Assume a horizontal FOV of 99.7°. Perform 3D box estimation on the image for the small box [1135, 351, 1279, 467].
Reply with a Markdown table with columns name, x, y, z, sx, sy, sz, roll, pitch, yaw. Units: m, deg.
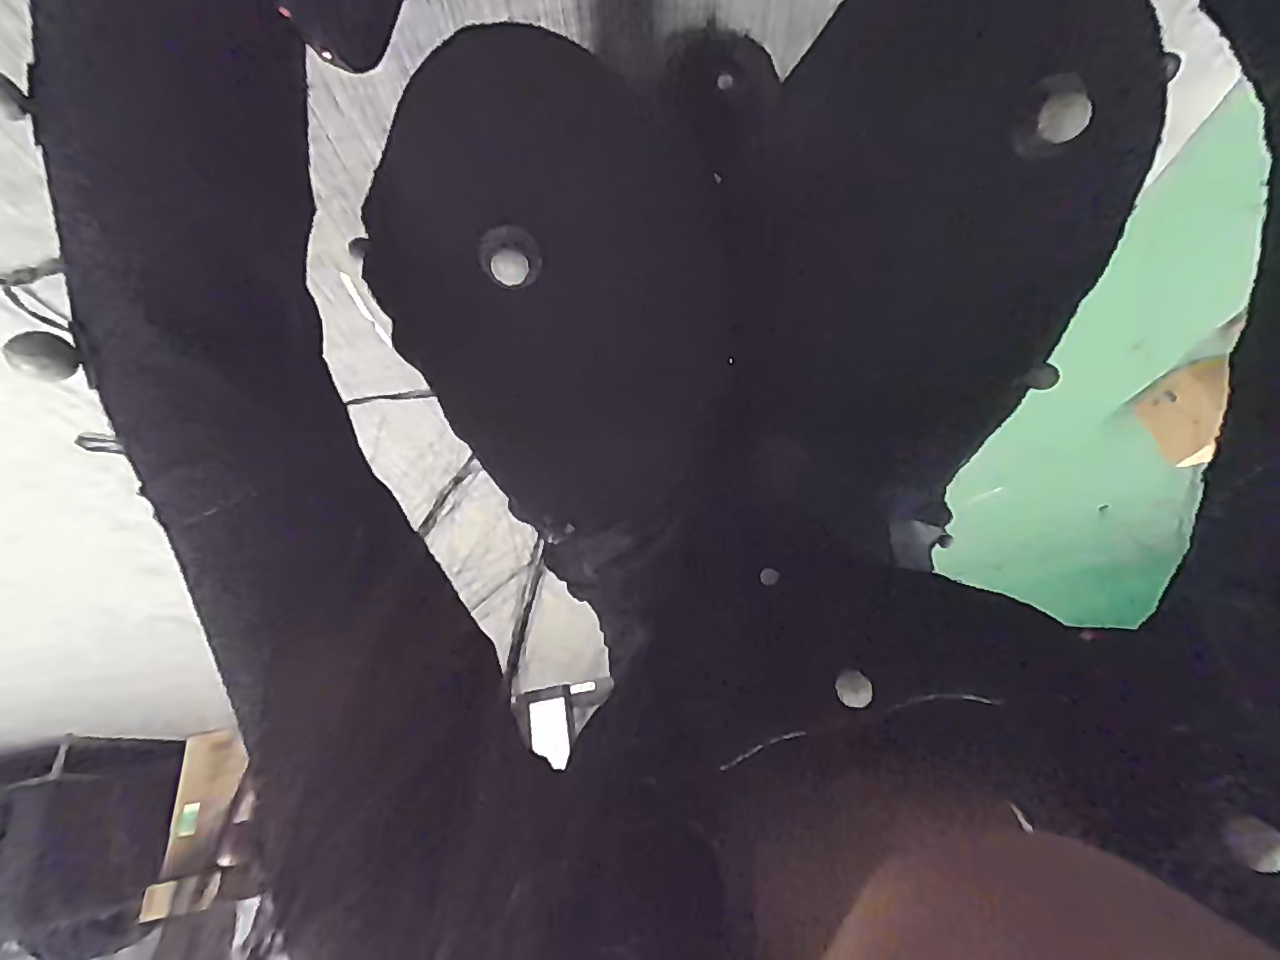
| name | x | y | z | sx | sy | sz | roll | pitch | yaw |
| --- | --- | --- | --- | --- | --- | --- | --- | --- | --- |
| small box | 1.230 | -0.153 | 1.146 | 0.179 | 0.176 | 0.168 | -12 | 153 | 2 |

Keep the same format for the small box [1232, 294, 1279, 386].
| name | x | y | z | sx | sy | sz | roll | pitch | yaw |
| --- | --- | --- | --- | --- | --- | --- | --- | --- | --- |
| small box | 1.206 | -0.263 | 0.924 | 0.179 | 0.176 | 0.168 | -11 | 154 | -1 |
